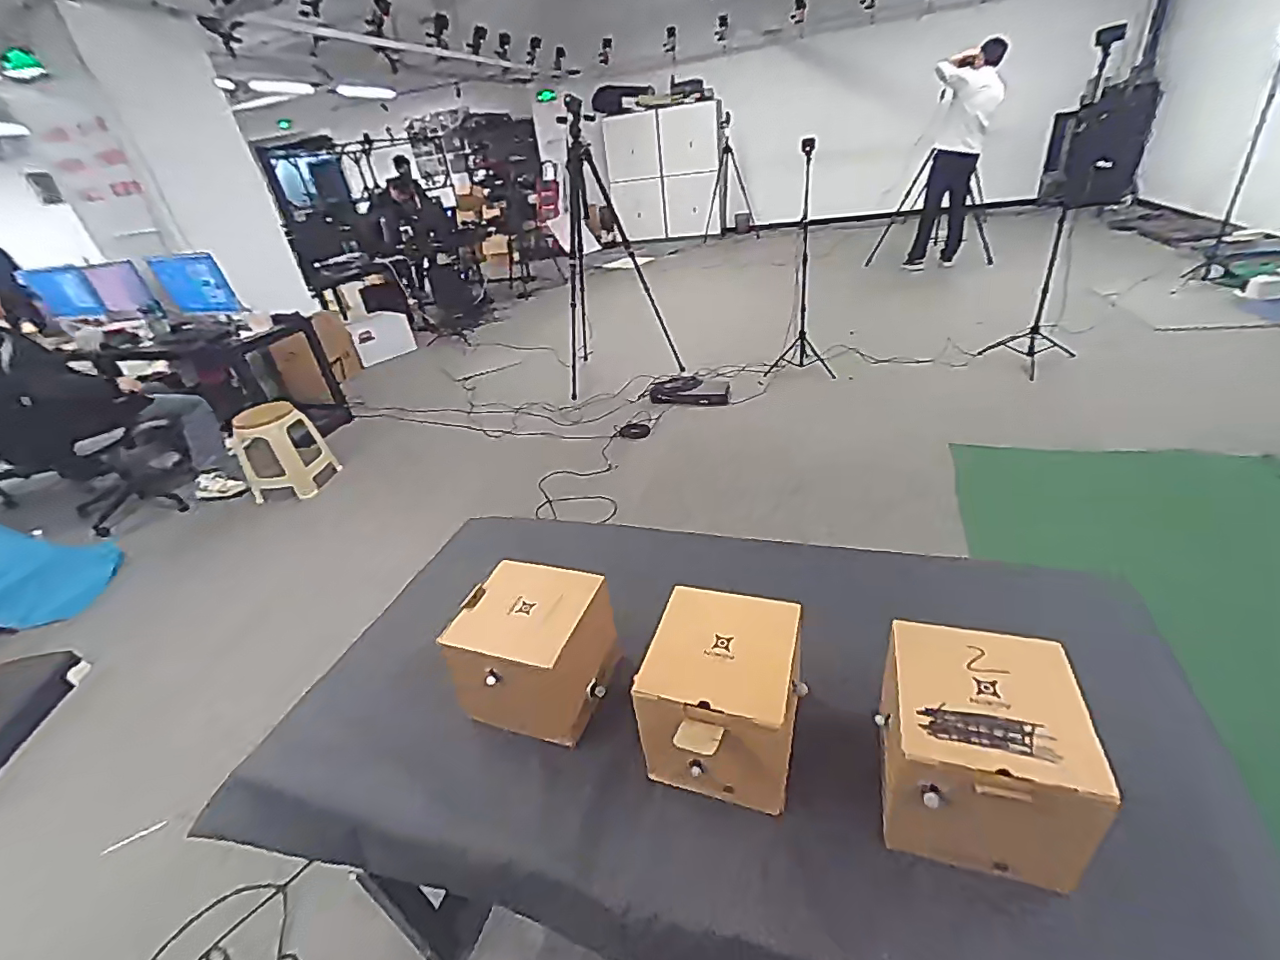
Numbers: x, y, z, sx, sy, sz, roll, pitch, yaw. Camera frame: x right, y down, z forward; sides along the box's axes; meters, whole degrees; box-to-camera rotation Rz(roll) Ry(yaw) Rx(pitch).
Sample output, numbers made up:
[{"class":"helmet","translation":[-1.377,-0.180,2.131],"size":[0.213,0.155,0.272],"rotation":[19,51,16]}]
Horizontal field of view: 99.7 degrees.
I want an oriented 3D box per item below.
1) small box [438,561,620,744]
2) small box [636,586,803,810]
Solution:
[{"class":"small box","translation":[-0.145,0.241,0.769],"size":[0.179,0.176,0.168],"rotation":[6,34,21]},{"class":"small box","translation":[0.107,0.263,0.674],"size":[0.168,0.176,0.179],"rotation":[5,34,20]}]
